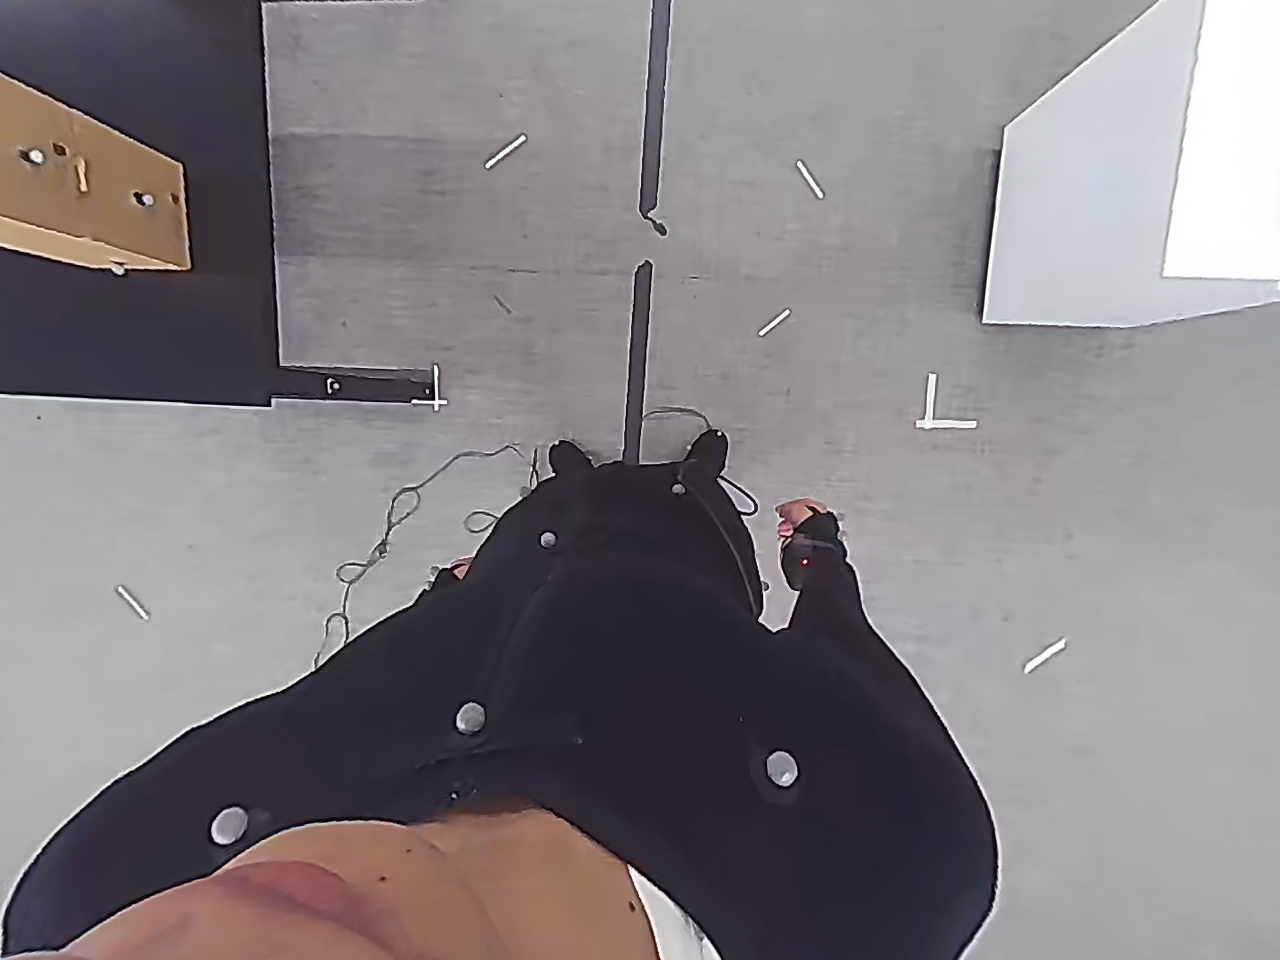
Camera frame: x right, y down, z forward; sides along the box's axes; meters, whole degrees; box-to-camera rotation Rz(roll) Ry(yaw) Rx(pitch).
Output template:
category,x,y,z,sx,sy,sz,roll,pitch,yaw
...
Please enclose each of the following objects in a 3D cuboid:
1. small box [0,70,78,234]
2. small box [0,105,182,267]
category,x,y,z,sx,sy,sz,roll,pitch,yaw
small box,-0.829,-0.398,0.629,0.179,0.176,0.168,2,99,2
small box,-0.819,-0.420,0.793,0.179,0.176,0.168,1,98,2
